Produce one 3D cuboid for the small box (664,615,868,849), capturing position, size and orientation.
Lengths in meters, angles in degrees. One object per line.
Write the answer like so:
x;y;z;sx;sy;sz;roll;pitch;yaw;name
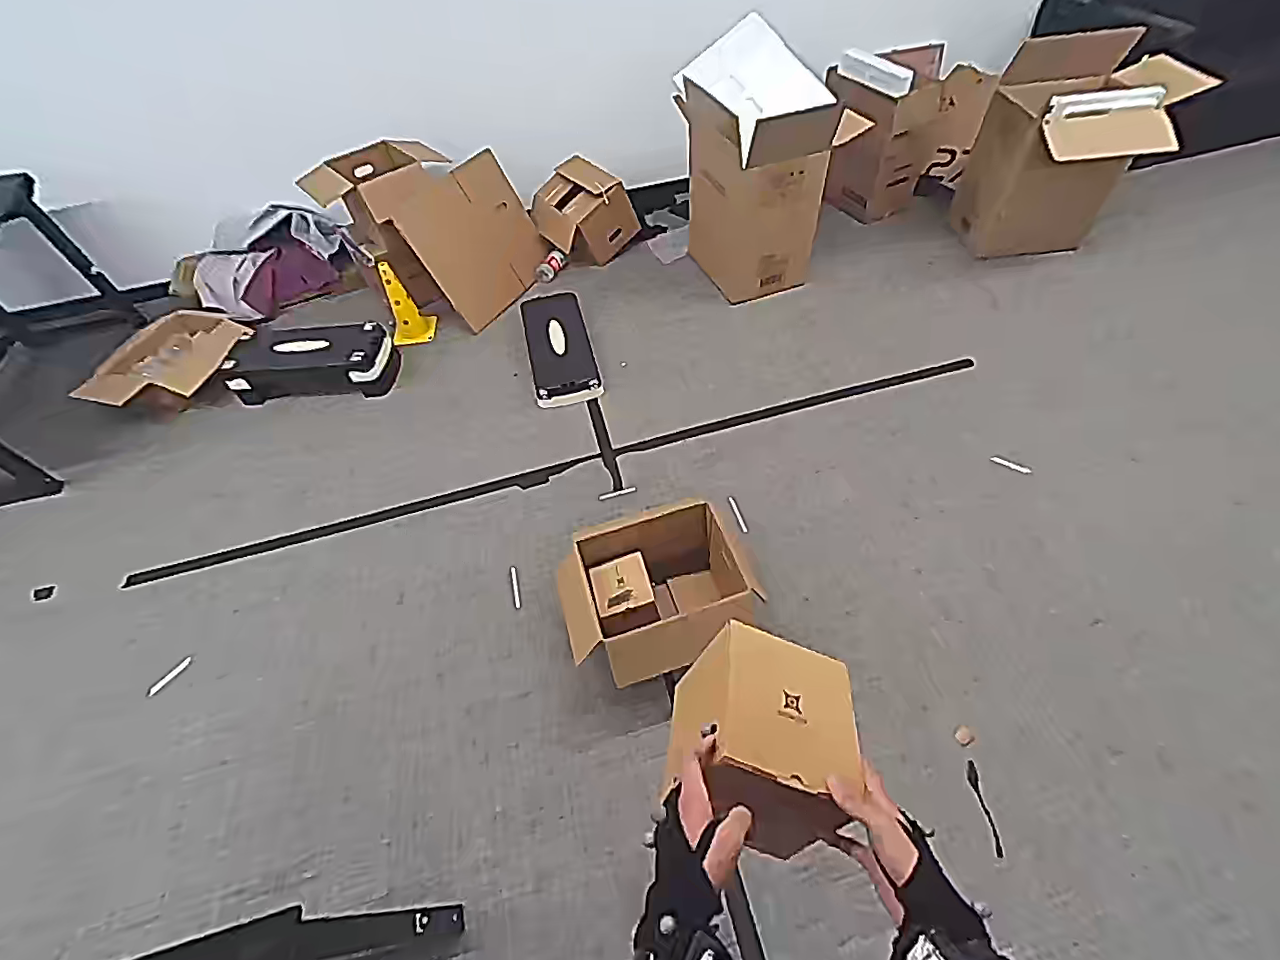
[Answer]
0.139;0.301;0.648;0.168;0.176;0.179;22;38;-6;small box
